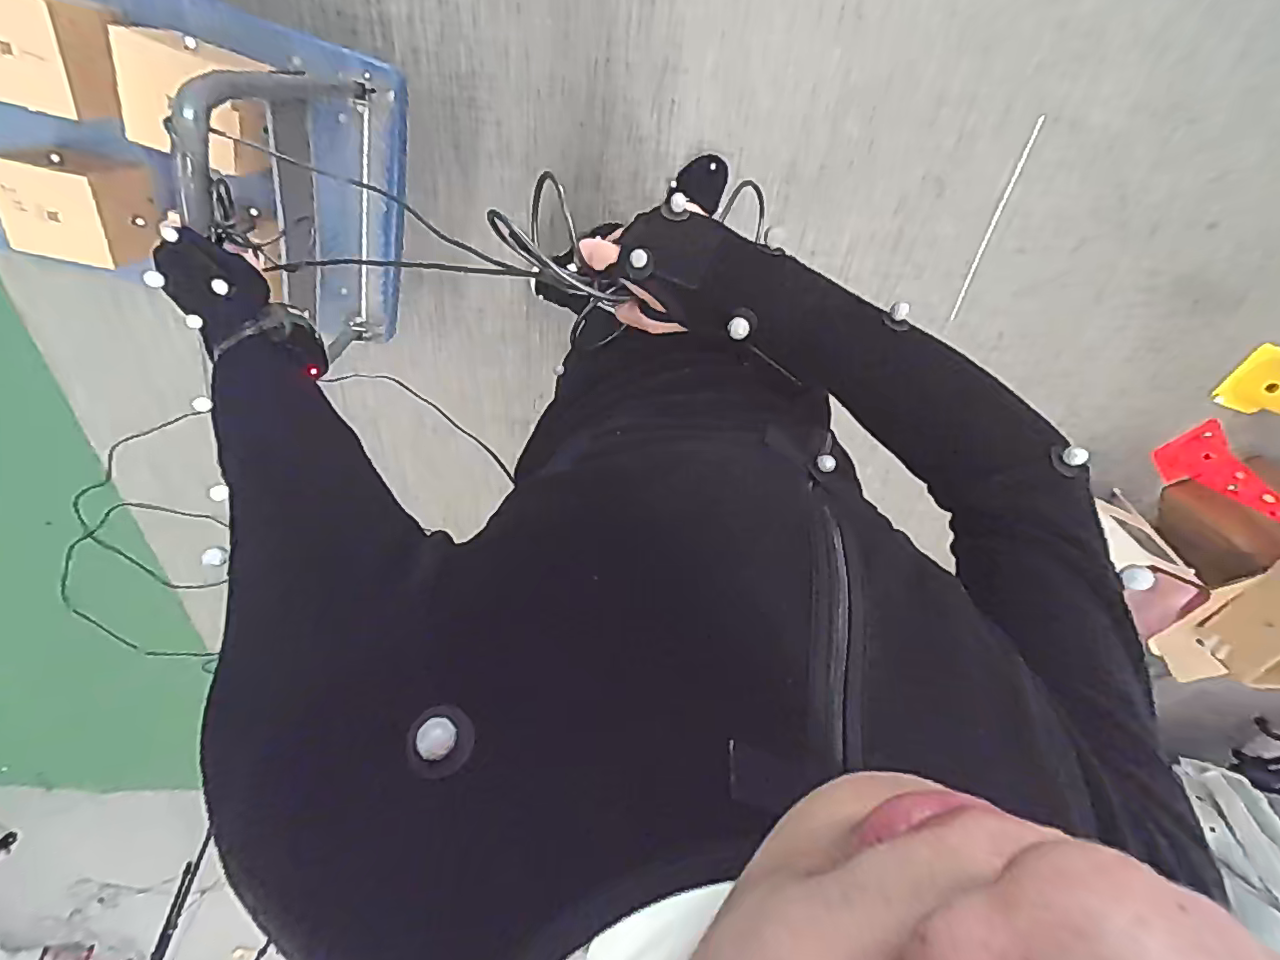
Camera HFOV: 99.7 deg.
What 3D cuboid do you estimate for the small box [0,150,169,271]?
[{"bbox_3d":[-1.085,-0.536,1.070,0.179,0.176,0.168,10,124,-10],"label":"small box"}]

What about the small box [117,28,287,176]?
[{"bbox_3d":[-0.778,-0.679,0.982,0.179,0.176,0.168,14,124,-13],"label":"small box"}]

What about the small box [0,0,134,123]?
[{"bbox_3d":[-1.010,-0.735,0.927,0.179,0.176,0.168,11,126,-11],"label":"small box"}]
